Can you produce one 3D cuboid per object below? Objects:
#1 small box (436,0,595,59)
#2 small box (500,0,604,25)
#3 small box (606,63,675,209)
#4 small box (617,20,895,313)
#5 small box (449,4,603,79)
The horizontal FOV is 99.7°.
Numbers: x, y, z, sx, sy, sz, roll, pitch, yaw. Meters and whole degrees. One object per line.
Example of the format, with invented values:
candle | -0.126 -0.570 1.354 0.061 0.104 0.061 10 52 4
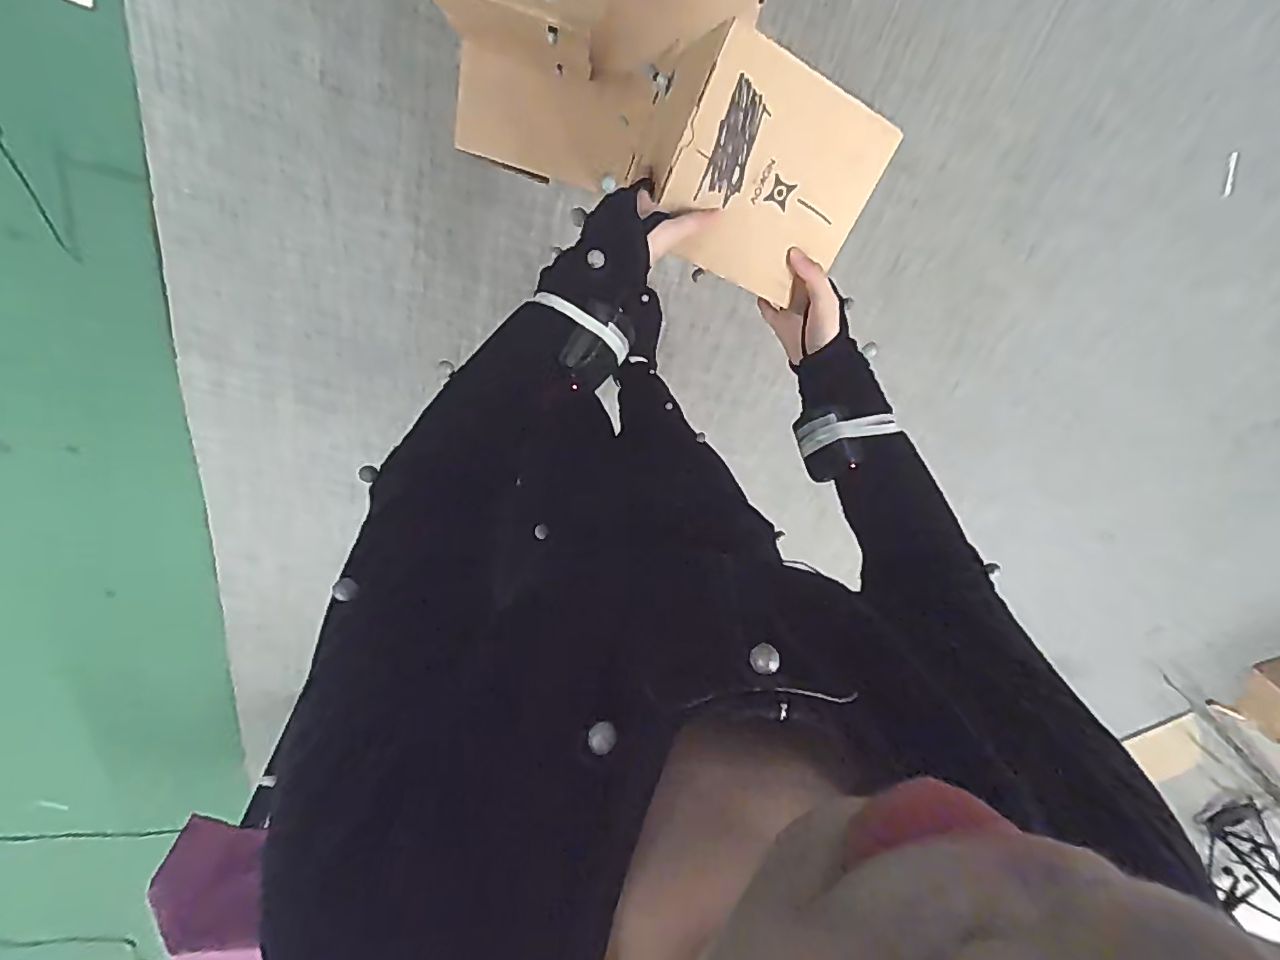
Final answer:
small box | -0.121 -0.560 0.547 0.179 0.176 0.168 9 117 -14
small box | -0.092 -0.481 0.404 0.179 0.176 0.168 10 117 -13
small box | 0.052 -0.476 0.807 0.168 0.176 0.179 13 118 -15
small box | 0.093 -0.289 0.526 0.179 0.176 0.168 17 115 -22
small box | -0.133 -0.638 0.689 0.179 0.176 0.168 9 118 -11
